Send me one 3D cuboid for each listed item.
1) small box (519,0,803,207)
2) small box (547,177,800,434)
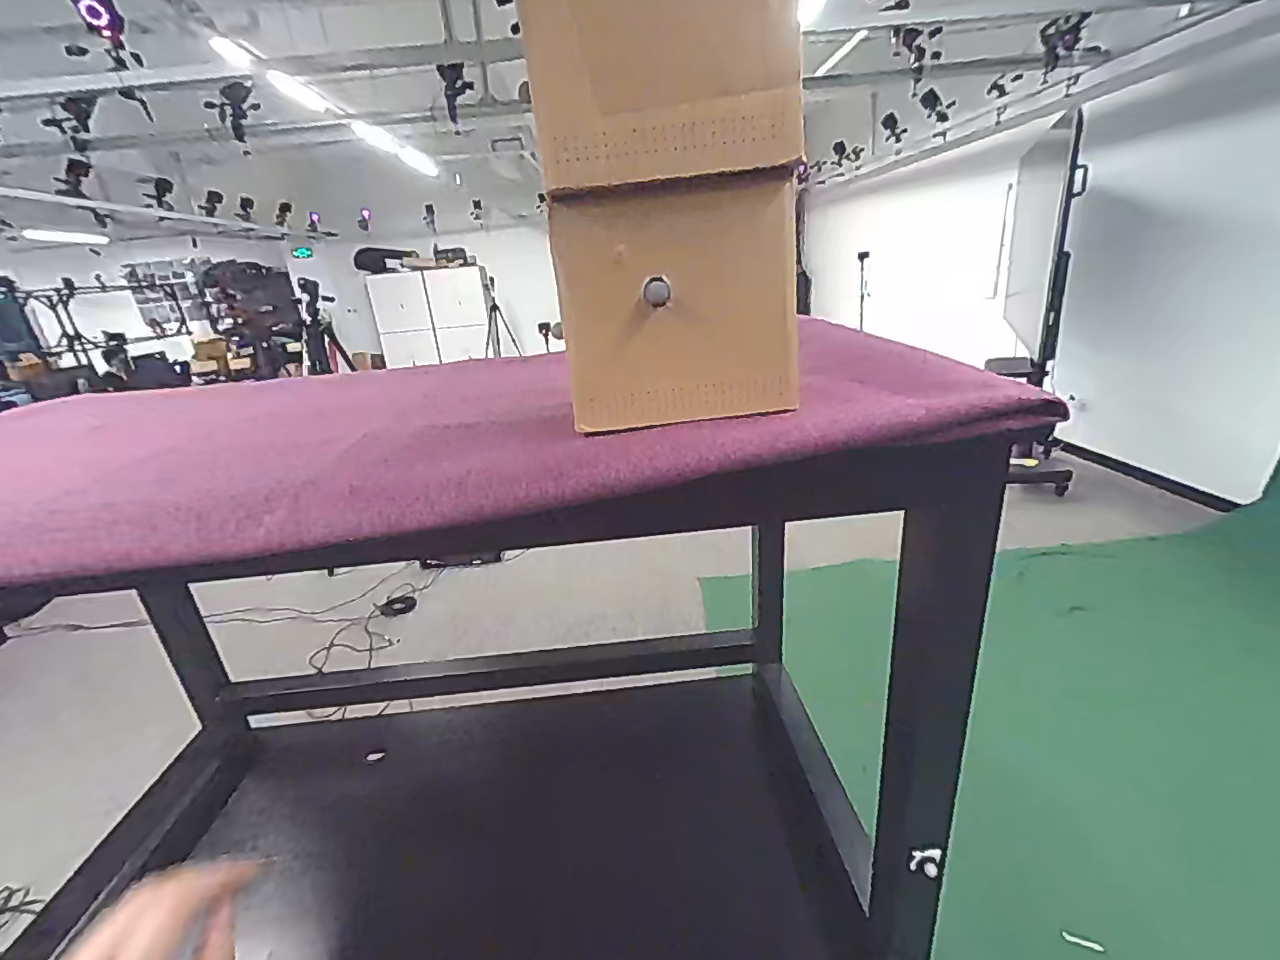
[{"bbox_3d":[0.013,-0.292,0.406,0.179,0.176,0.168,-6,18,0],"label":"small box"},{"bbox_3d":[0.029,-0.142,0.470,0.179,0.176,0.168,-7,19,0],"label":"small box"}]
